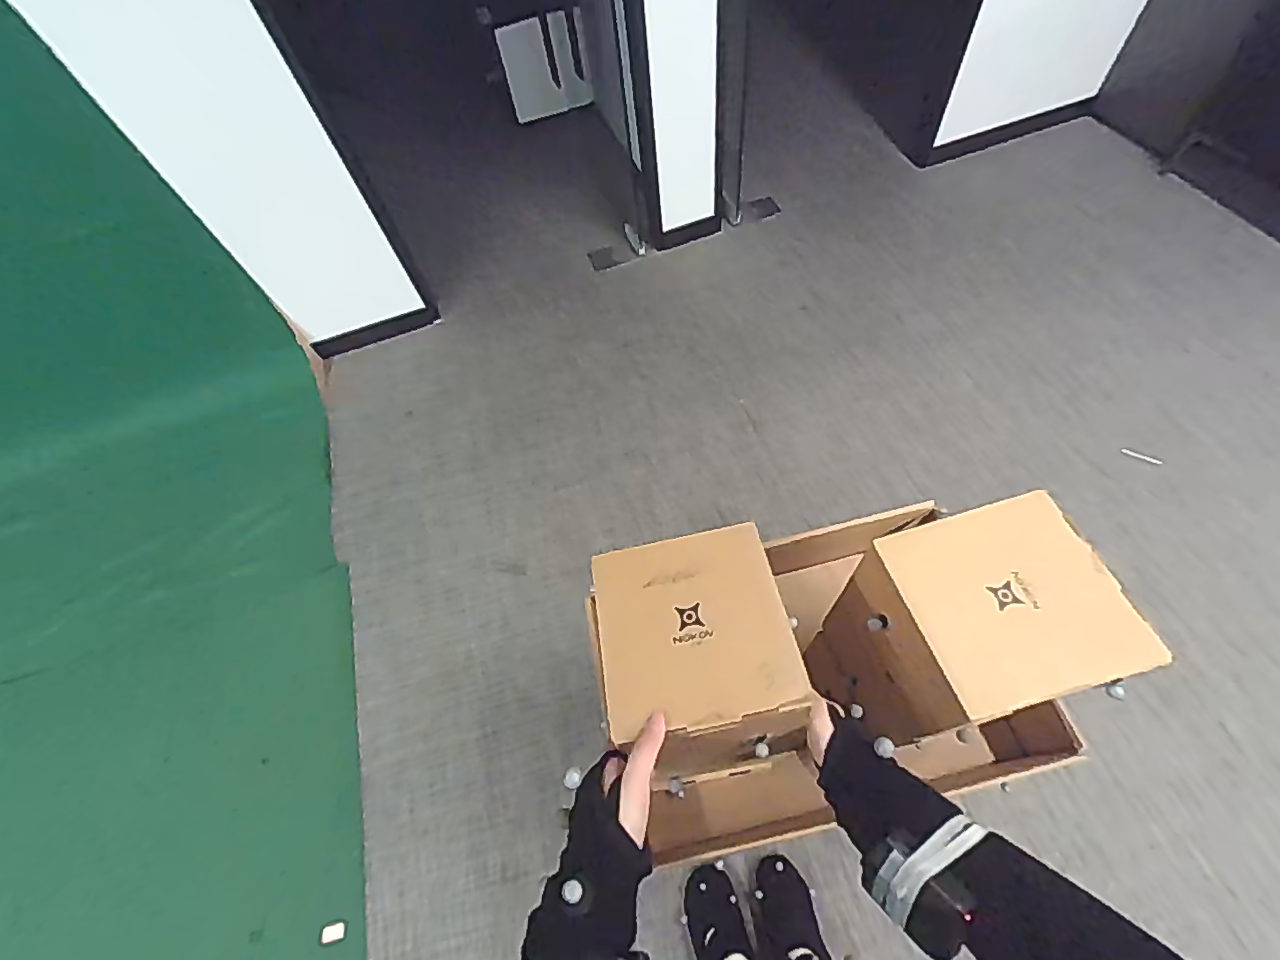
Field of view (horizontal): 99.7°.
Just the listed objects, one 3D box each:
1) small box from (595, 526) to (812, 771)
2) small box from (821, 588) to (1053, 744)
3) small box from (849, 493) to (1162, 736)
[{"bbox_3d":[0.058,0.175,0.538,0.168,0.176,0.179,-11,51,1],"label":"small box"},{"bbox_3d":[0.351,0.220,0.681,0.168,0.176,0.179,-16,61,-3],"label":"small box"},{"bbox_3d":[0.328,0.142,0.540,0.179,0.176,0.168,-16,59,-2],"label":"small box"}]
